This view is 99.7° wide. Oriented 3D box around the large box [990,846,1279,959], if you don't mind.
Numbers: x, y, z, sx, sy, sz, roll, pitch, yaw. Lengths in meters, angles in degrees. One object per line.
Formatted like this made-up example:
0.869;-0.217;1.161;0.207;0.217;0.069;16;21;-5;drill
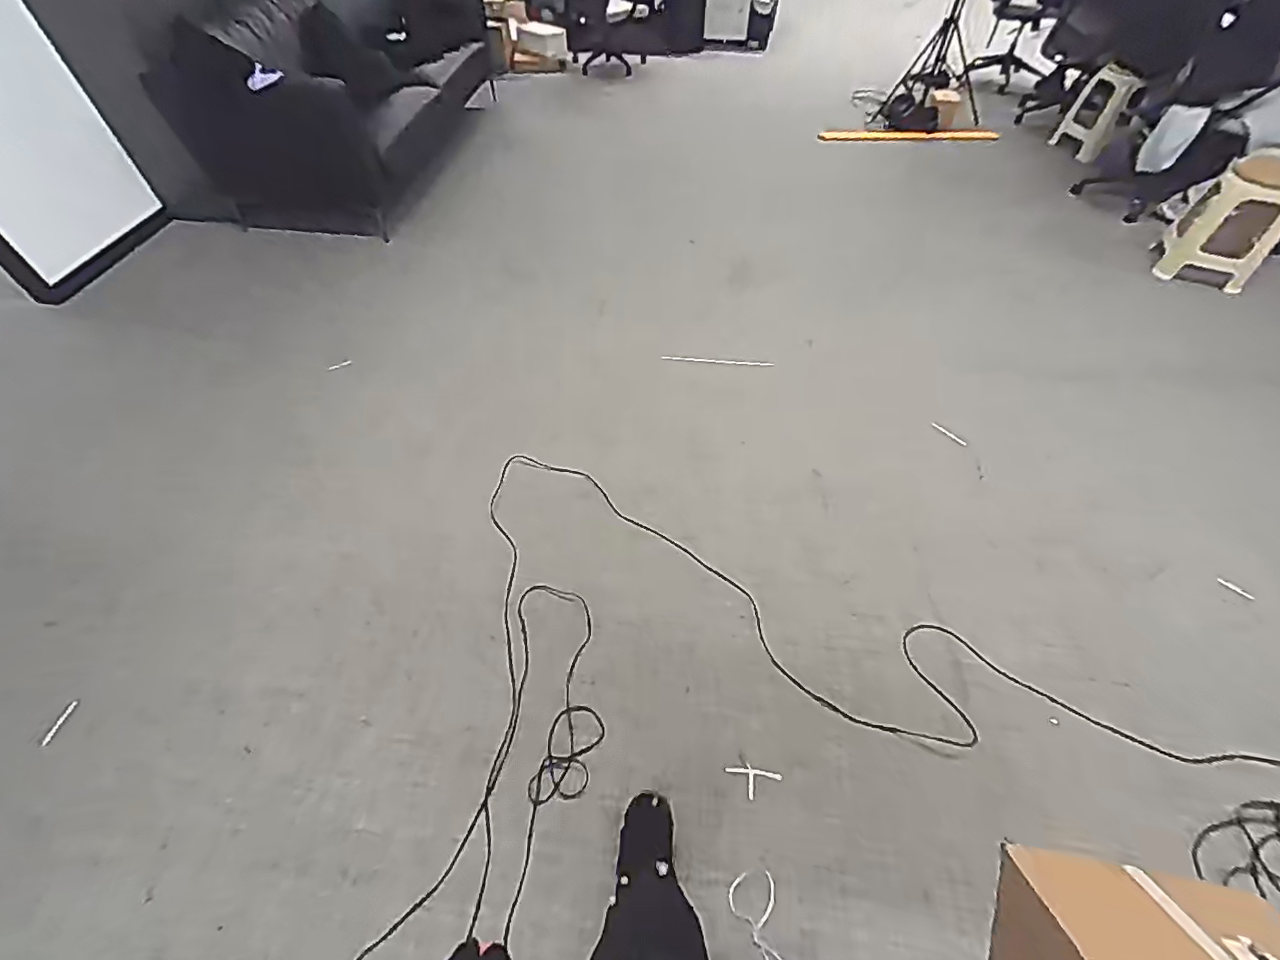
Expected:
0.621;0.691;0.563;0.320;0.408;0.320;6;92;10;large box
